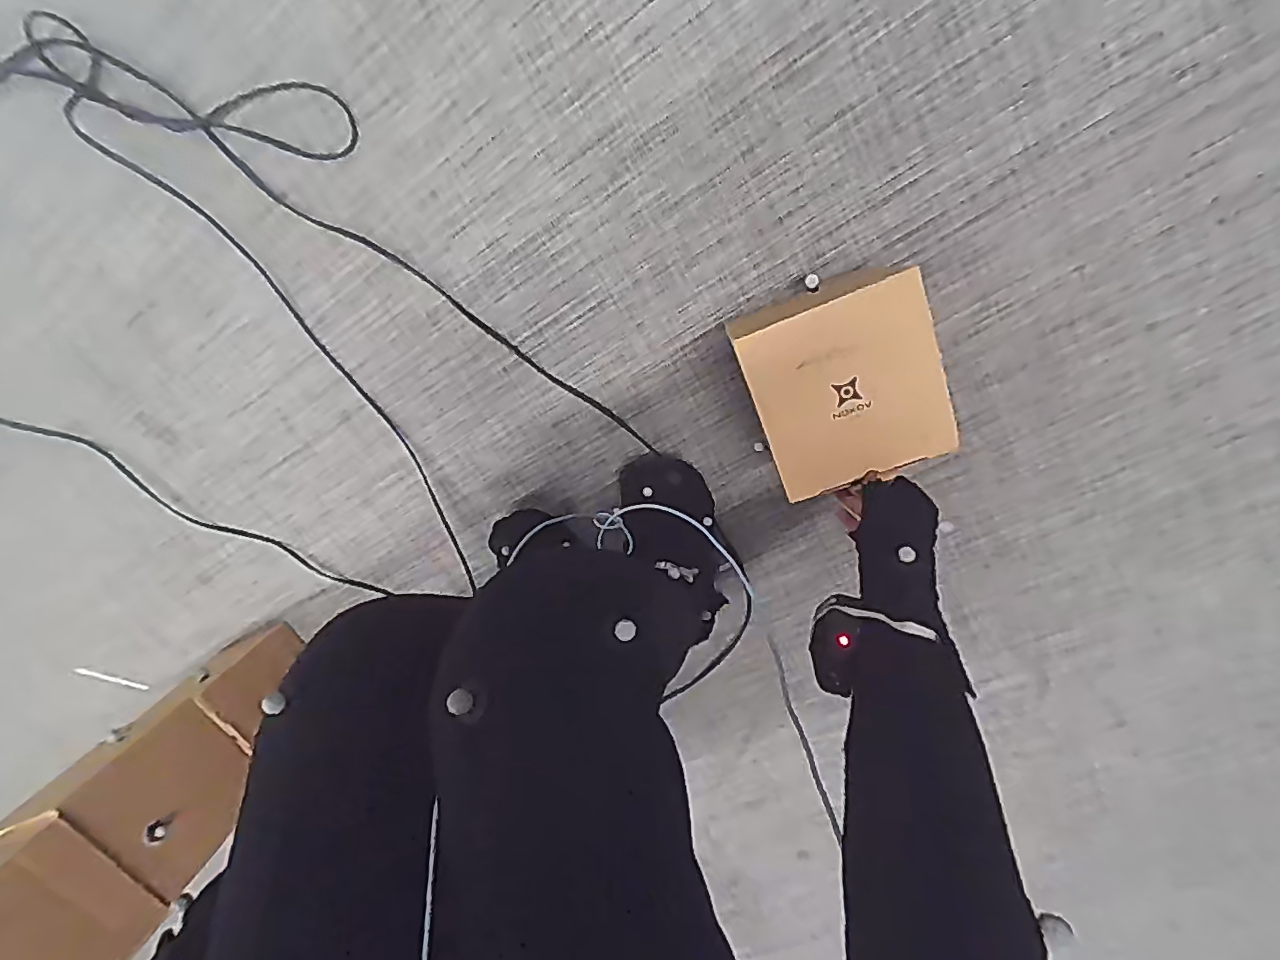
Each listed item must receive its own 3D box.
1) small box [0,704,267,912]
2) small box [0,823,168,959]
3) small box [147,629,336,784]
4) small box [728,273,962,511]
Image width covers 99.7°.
[{"bbox_3d":[-0.647,0.431,0.705,0.168,0.176,0.179,-25,106,16],"label":"small box"},{"bbox_3d":[-0.661,0.500,0.558,0.168,0.176,0.179,-25,106,16],"label":"small box"},{"bbox_3d":[-0.622,0.366,0.854,0.179,0.176,0.168,-26,107,16],"label":"small box"},{"bbox_3d":[0.196,-0.098,0.556,0.168,0.176,0.179,-19,108,13],"label":"small box"}]
